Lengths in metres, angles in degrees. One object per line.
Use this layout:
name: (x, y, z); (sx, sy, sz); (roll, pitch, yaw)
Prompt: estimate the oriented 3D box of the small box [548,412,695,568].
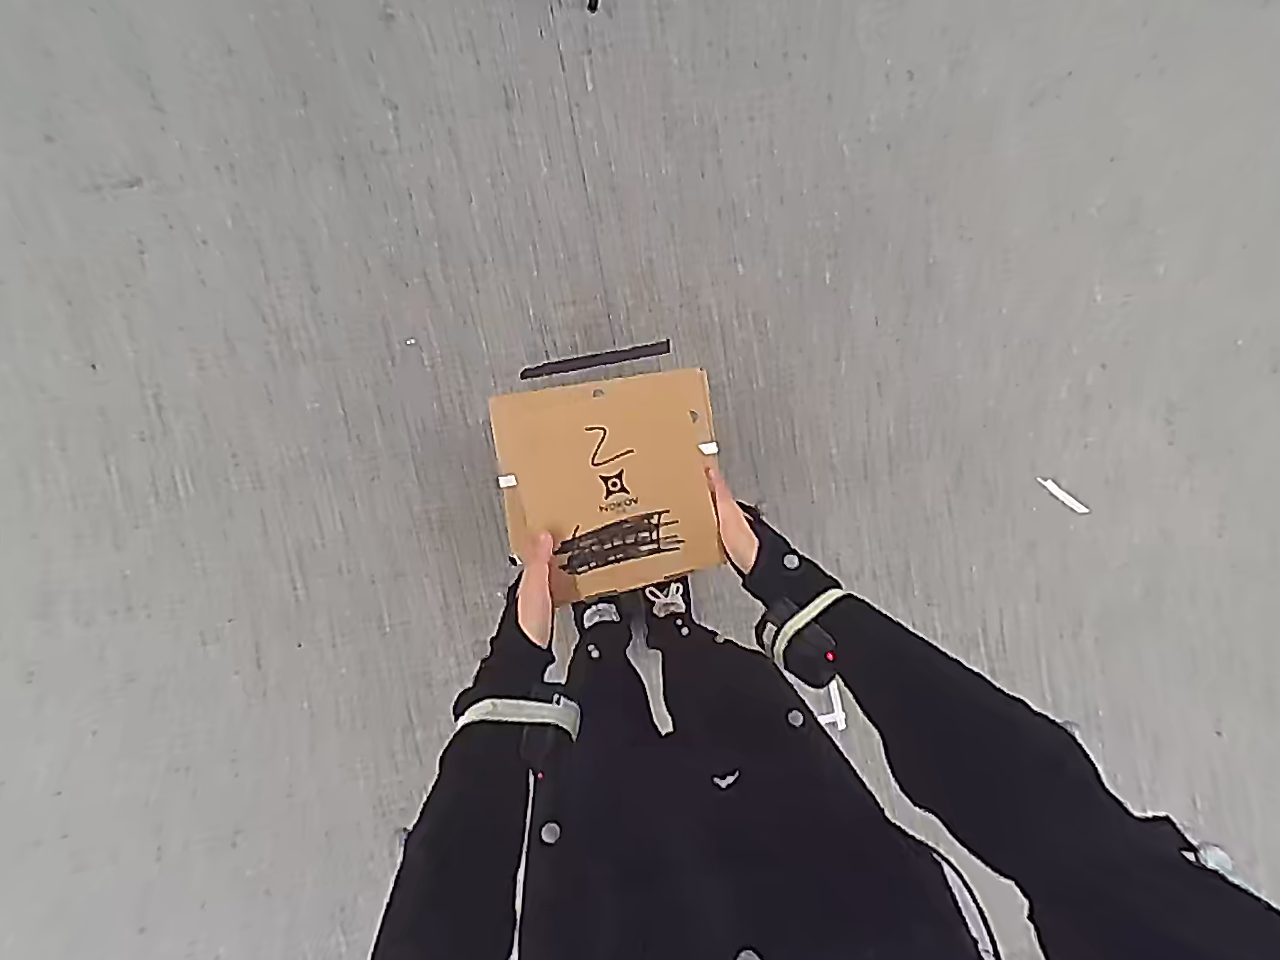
small box: (-0.030, 0.009, 0.759); (0.168, 0.176, 0.179); (-11, 94, -4)
